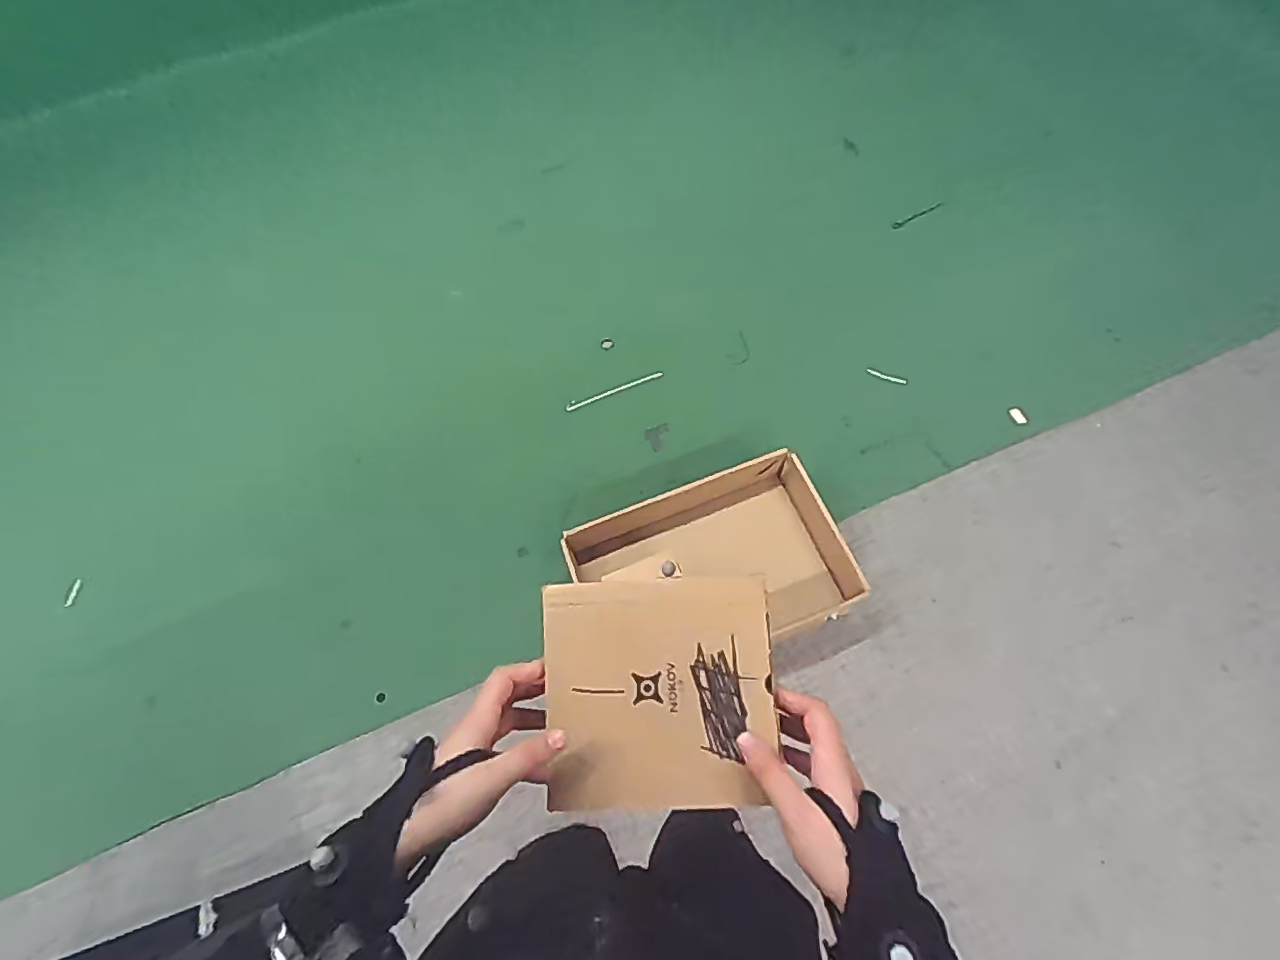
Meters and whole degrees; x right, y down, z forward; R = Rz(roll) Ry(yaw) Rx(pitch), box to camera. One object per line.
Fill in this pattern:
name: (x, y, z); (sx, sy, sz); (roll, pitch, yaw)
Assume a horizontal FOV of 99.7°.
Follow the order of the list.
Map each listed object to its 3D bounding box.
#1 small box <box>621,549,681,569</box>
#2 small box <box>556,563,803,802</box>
small box: (0.028, 0.286, 1.254); (0.179, 0.176, 0.168); (-20, 67, -7)
small box: (0.030, 0.161, 0.478); (0.179, 0.176, 0.168); (-4, 78, 4)
